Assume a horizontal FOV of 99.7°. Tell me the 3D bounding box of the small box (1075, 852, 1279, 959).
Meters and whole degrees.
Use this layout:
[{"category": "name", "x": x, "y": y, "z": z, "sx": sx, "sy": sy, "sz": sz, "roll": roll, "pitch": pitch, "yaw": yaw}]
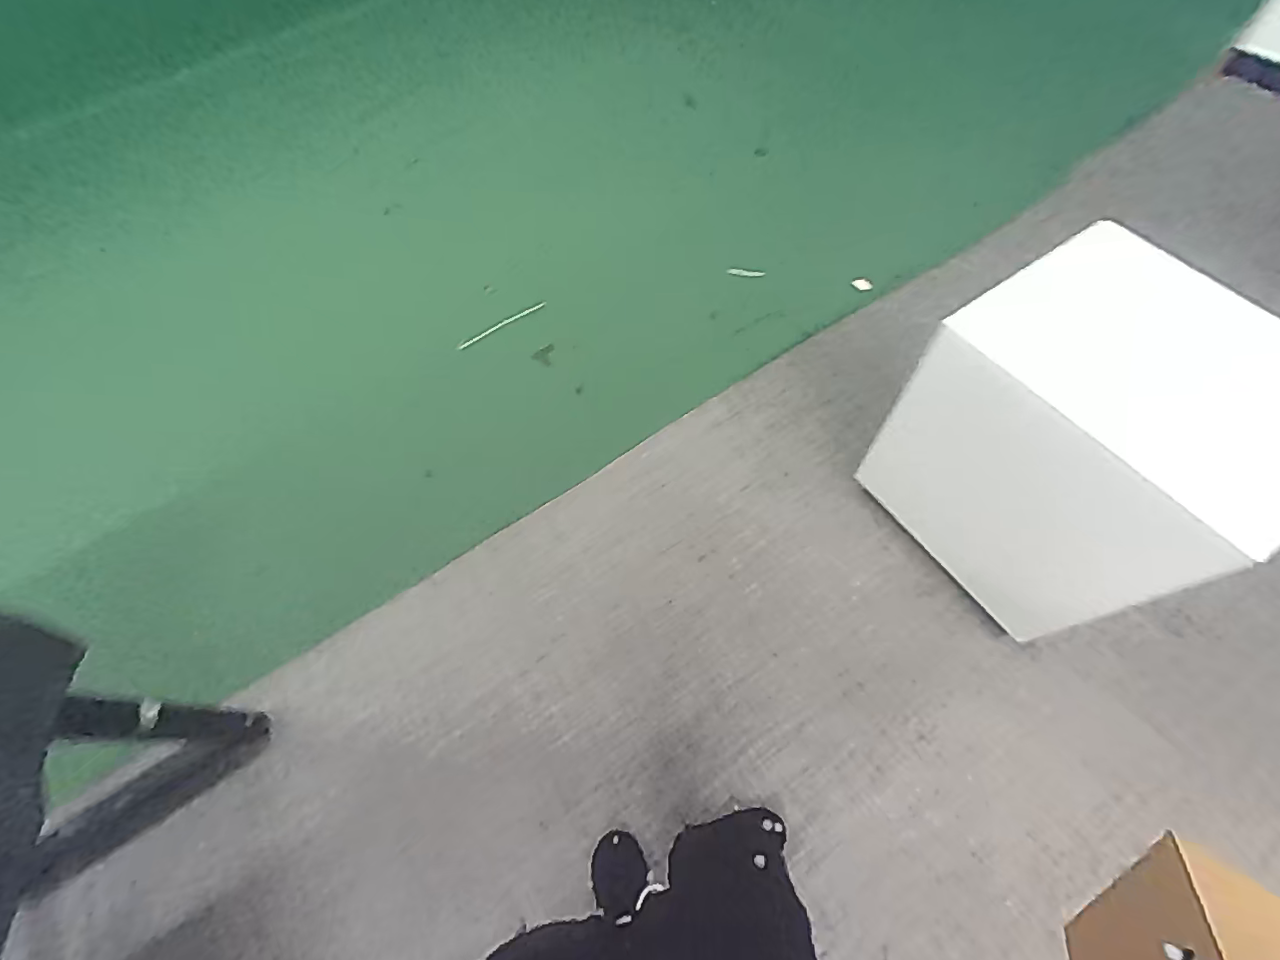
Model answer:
[{"category": "small box", "x": 0.505, "y": 0.477, "z": 0.450, "sx": 0.168, "sy": 0.179, "sz": 0.176, "roll": 34, "pitch": 115, "yaw": 26}]
